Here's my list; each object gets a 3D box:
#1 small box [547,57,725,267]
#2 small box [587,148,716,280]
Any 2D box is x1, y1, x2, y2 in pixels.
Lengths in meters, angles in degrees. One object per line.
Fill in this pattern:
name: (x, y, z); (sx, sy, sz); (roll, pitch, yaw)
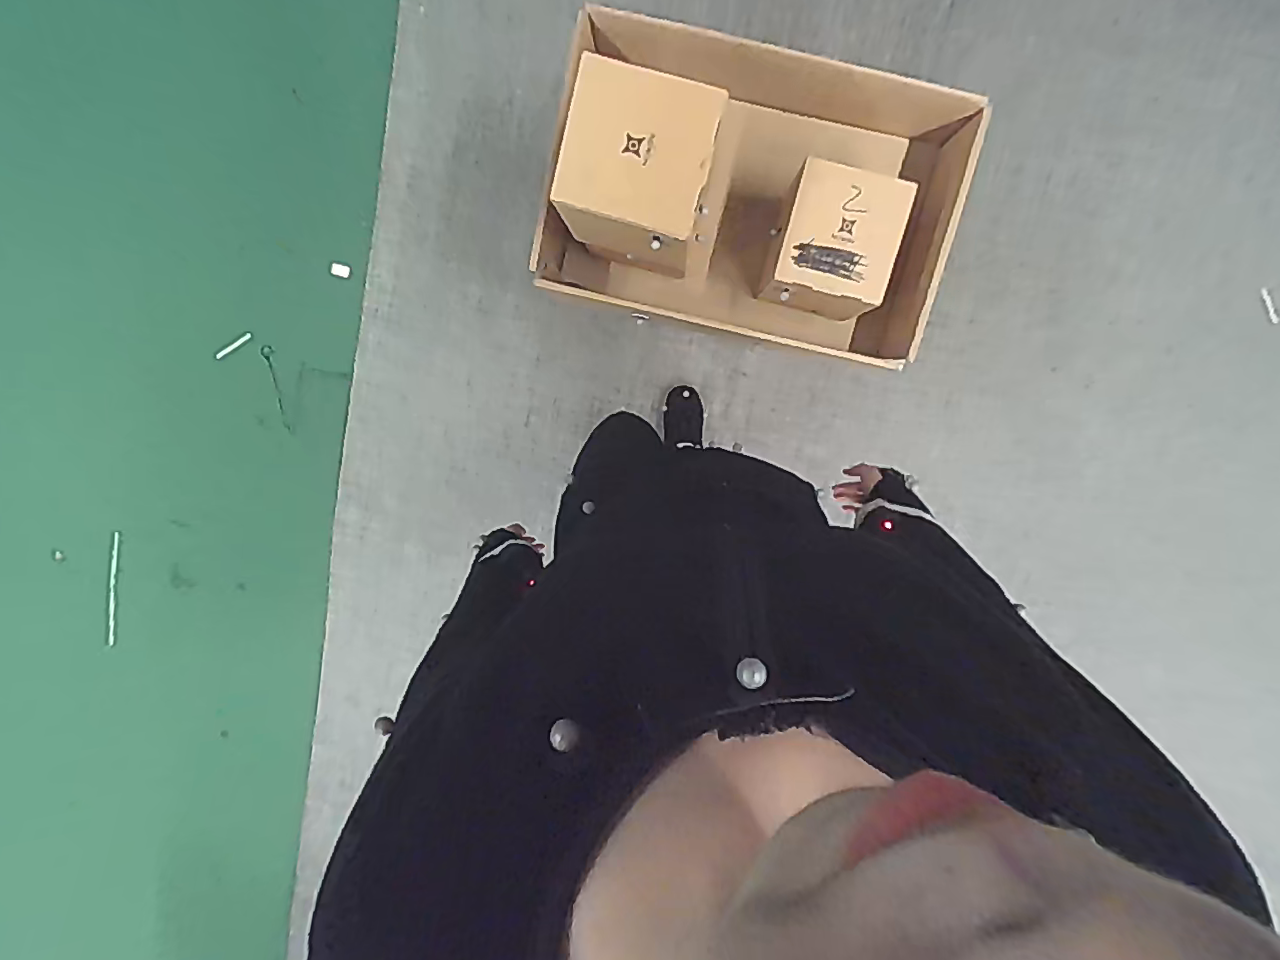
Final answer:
small box: (-0.004, -0.397, 0.708); (0.179, 0.176, 0.168); (16, 100, -1)
small box: (0.009, -0.436, 0.866); (0.179, 0.176, 0.168); (15, 100, 0)
